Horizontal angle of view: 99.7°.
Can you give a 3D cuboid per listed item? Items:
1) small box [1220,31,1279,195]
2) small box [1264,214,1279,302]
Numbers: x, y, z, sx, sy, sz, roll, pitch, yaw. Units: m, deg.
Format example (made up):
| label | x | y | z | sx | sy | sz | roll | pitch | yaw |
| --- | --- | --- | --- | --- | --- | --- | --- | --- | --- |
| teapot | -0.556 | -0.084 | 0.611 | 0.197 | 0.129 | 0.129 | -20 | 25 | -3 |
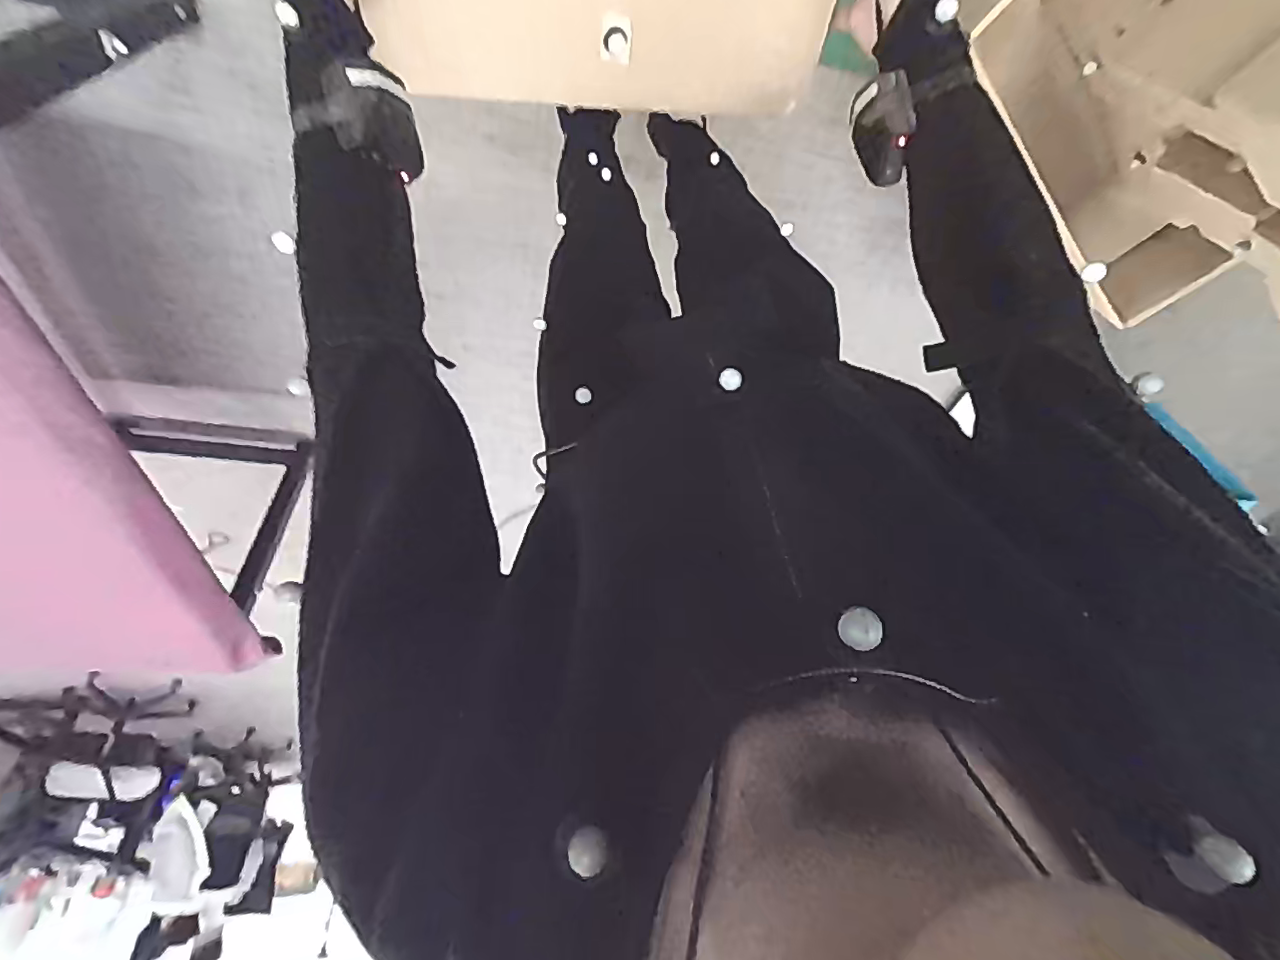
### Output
| label | x | y | z | sx | sy | sz | roll | pitch | yaw |
| --- | --- | --- | --- | --- | --- | --- | --- | --- | --- |
| small box | 0.616 | -0.296 | 0.405 | 0.179 | 0.176 | 0.168 | 21 | 132 | -26 |
| small box | 0.773 | -0.218 | 0.518 | 0.179 | 0.176 | 0.168 | 29 | 130 | -29 |
